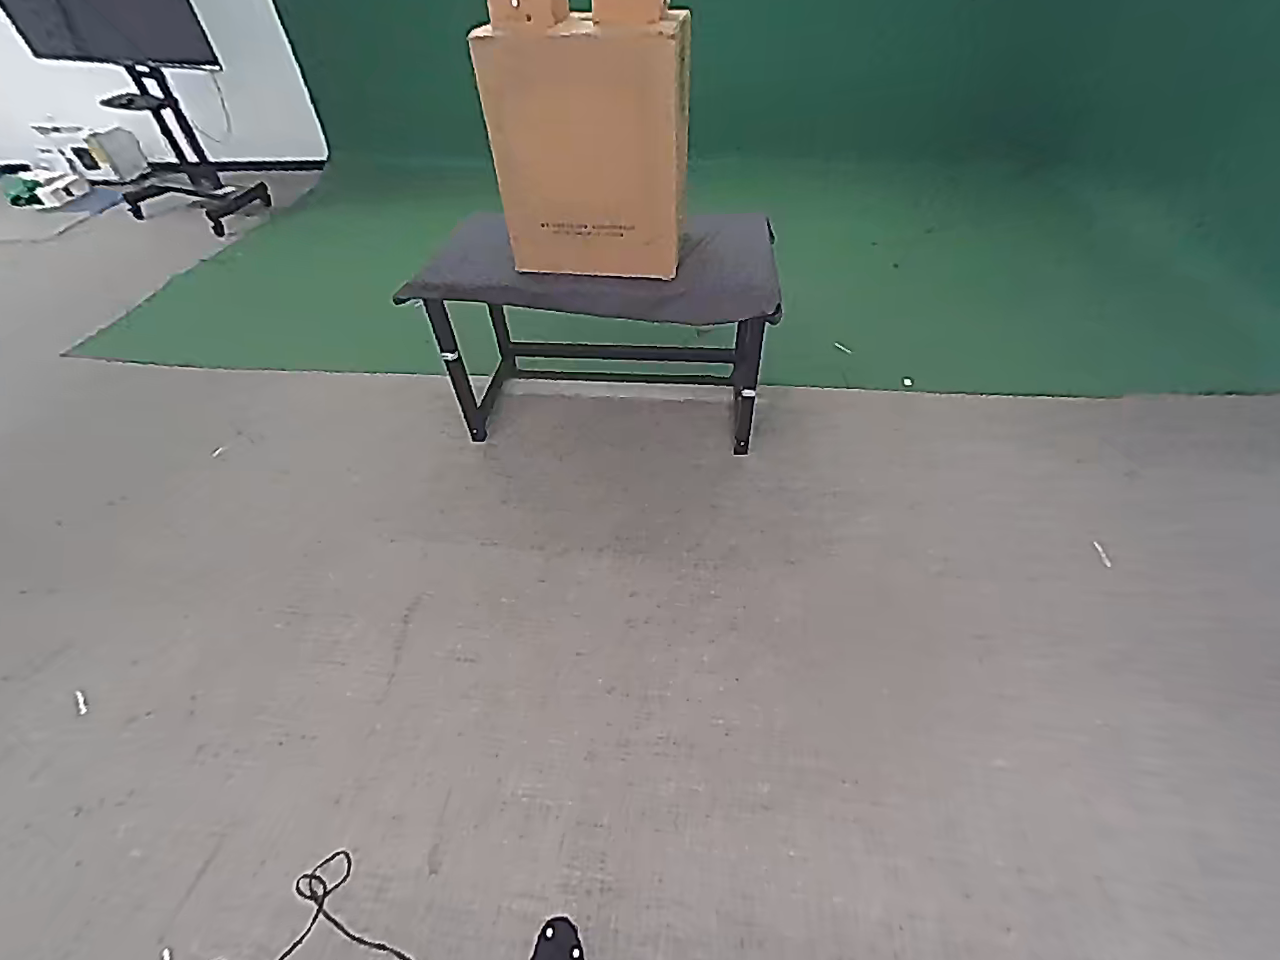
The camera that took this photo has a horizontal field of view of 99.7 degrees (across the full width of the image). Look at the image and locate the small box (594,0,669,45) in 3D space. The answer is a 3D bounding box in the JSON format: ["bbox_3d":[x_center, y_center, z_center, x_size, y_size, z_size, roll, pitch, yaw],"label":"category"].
[{"bbox_3d":[-0.021,-1.244,1.395,0.179,0.176,0.168,6,49,6],"label":"small box"}]

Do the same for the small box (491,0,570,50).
[{"bbox_3d":[-0.286,-1.247,1.414,0.168,0.176,0.179,5,49,9],"label":"small box"}]
